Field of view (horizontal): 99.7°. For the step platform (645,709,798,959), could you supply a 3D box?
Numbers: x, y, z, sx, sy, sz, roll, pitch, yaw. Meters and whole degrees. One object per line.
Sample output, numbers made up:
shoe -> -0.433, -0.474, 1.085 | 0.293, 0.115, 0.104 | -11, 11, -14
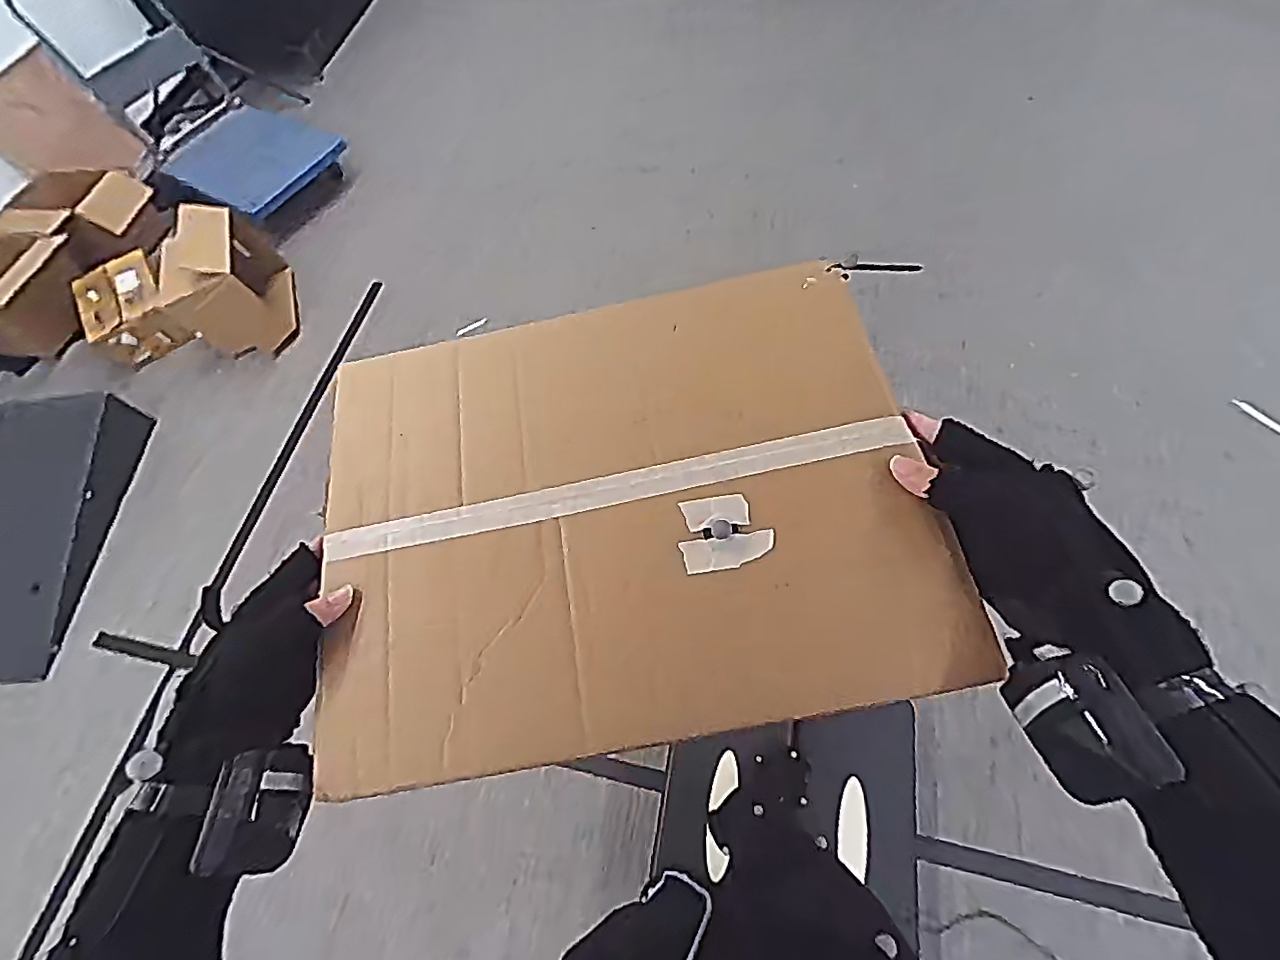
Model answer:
step platform -> 0.205, 0.740, 1.267 | 0.286, 0.204, 0.684 | 6, 64, 12

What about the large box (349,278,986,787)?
large box -> 0.004, 0.070, 0.521 | 0.408, 0.320, 0.320 | -11, 67, 2
